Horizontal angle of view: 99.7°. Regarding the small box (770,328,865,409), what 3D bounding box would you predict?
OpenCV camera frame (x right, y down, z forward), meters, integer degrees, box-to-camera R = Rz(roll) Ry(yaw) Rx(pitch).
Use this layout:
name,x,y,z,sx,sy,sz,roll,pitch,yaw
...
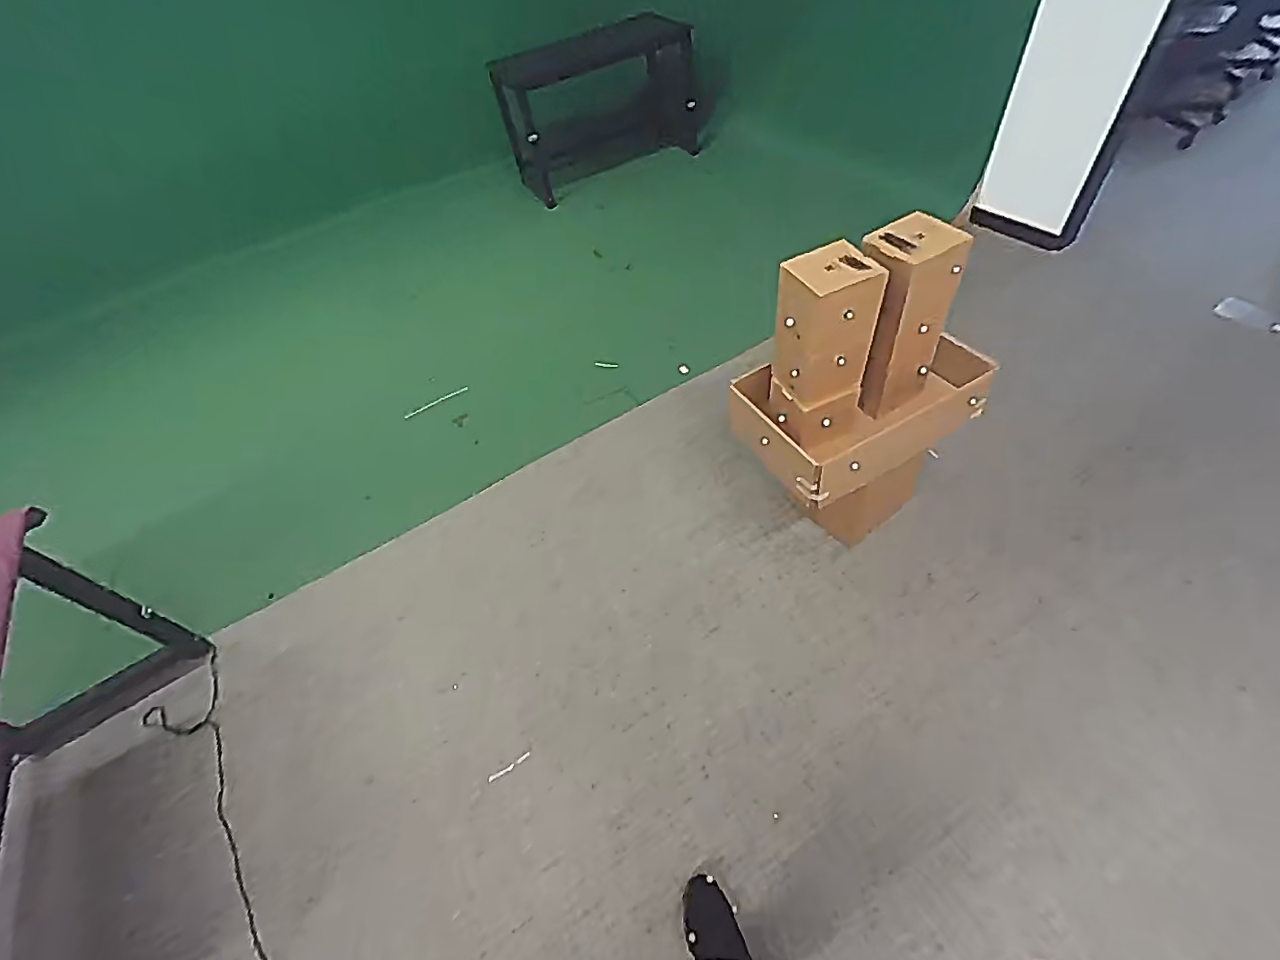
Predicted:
name,x,y,z,sx,sy,sz,roll,pitch,yaw
small box,0.454,-0.314,1.415,0.179,0.176,0.168,-21,52,-10

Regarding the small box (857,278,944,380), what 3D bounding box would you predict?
name,x,y,z,sx,sy,sz,roll,pitch,yaw
small box,0.667,-0.403,1.454,0.179,0.176,0.168,-30,53,-11

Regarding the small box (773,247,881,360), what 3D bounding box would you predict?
name,x,y,z,sx,sy,sz,roll,pitch,yaw
small box,0.435,-0.418,1.290,0.179,0.176,0.168,-22,52,-9

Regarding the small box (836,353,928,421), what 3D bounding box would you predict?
name,x,y,z,sx,sy,sz,roll,pitch,yaw
small box,0.693,-0.305,1.579,0.179,0.176,0.168,-28,51,-12
